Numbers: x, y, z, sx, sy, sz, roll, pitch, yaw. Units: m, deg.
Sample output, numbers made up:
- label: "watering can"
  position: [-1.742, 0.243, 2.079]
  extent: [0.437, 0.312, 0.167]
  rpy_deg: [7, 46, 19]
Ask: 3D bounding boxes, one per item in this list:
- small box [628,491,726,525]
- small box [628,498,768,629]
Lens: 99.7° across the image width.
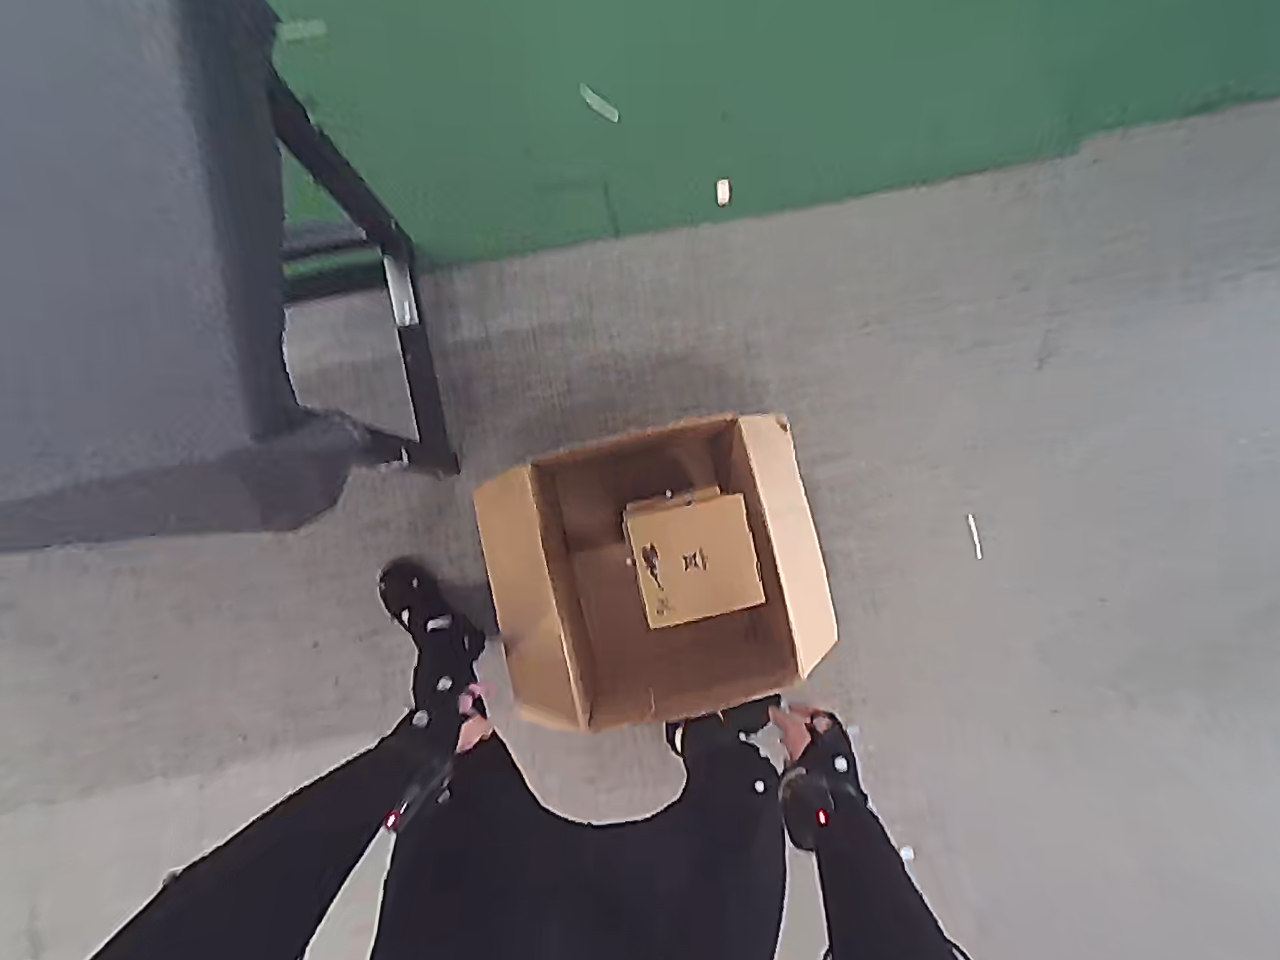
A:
- label: "small box"
  position: [0.082, 0.120, 1.016]
  extent: [0.179, 0.176, 0.168]
  rpy_deg: [-17, 90, -2]
- label: "small box"
  position: [0.083, 0.124, 0.868]
  extent: [0.179, 0.176, 0.168]
  rpy_deg: [-12, 88, -4]
